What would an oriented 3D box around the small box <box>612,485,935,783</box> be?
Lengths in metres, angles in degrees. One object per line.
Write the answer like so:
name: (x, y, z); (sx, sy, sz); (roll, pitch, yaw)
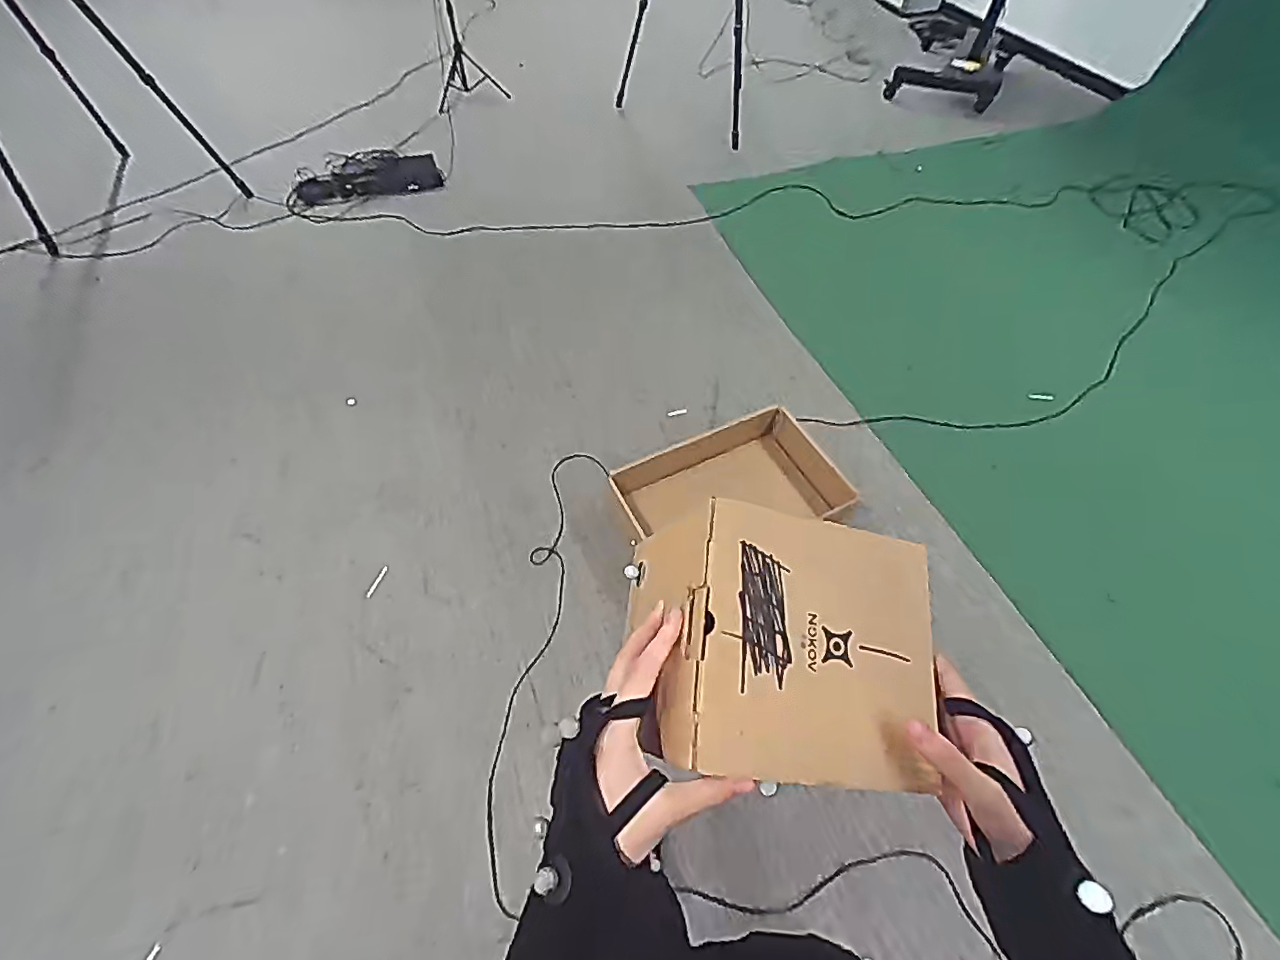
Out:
small box: (0.089, 0.121, 0.418); (0.179, 0.176, 0.168); (14, 68, -16)
